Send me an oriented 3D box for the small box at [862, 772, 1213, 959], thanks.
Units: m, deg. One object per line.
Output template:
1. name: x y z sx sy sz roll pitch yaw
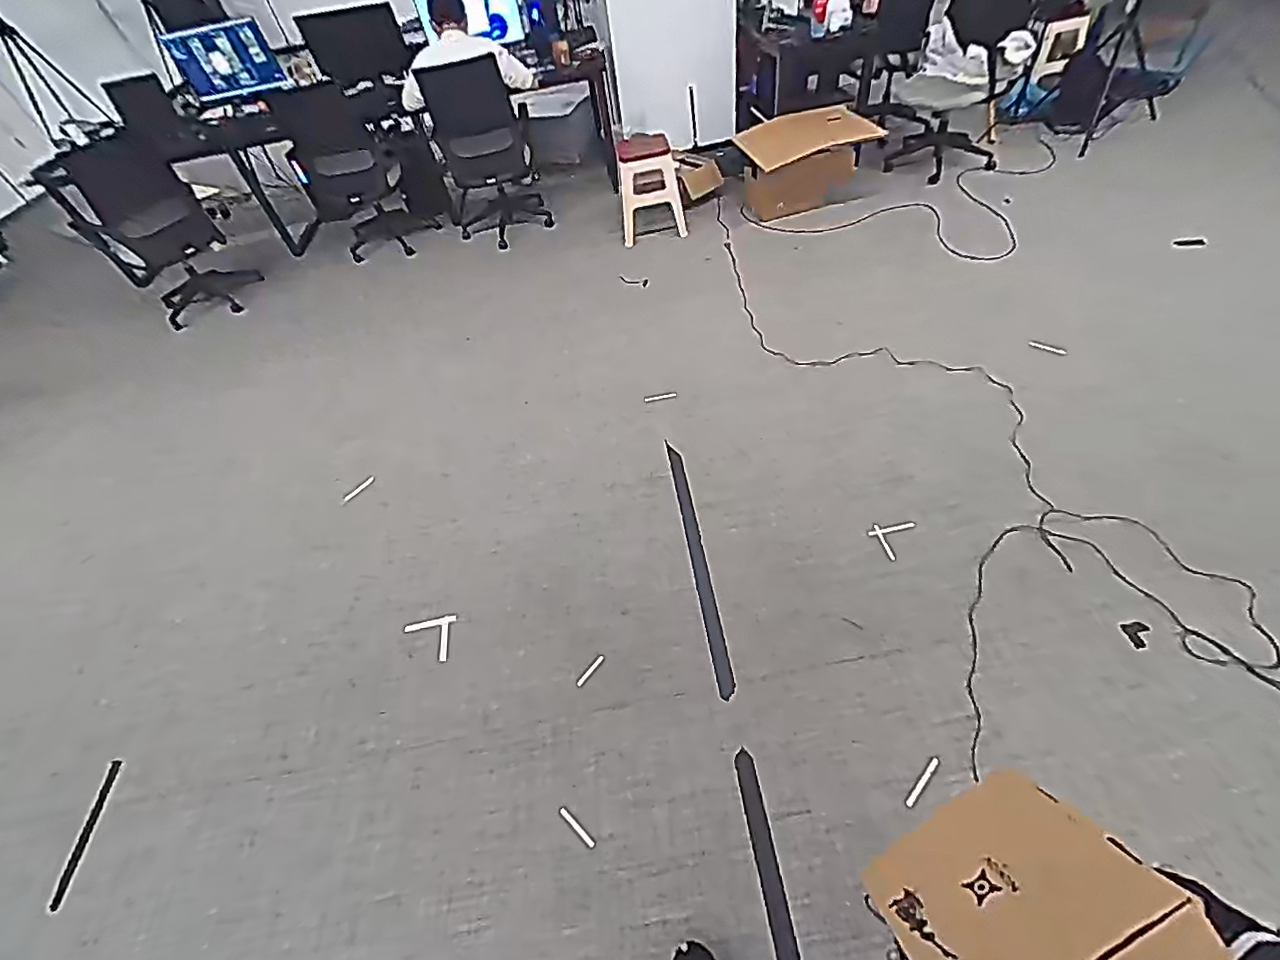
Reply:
1. small box: 0.324 0.390 0.432 0.179 0.168 0.176 -33 89 -2
